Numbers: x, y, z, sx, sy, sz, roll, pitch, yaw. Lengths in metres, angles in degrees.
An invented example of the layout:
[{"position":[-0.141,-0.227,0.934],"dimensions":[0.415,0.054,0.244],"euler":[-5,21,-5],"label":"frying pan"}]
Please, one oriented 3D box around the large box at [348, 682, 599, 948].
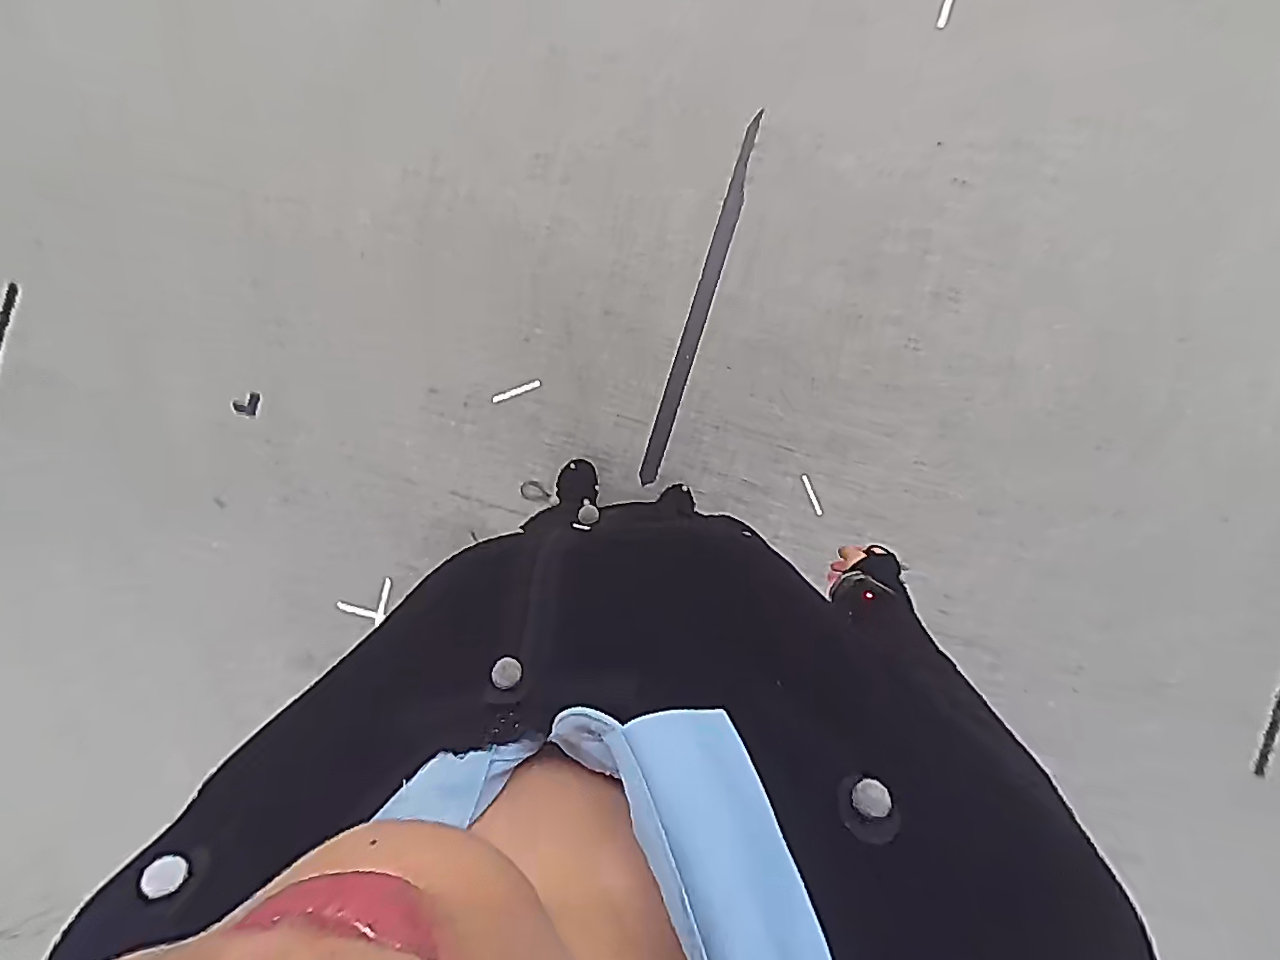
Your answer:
[{"position":[-0.337,0.708,1.203],"dimensions":[0.408,0.320,0.320],"euler":[19,91,2],"label":"large box"}]
